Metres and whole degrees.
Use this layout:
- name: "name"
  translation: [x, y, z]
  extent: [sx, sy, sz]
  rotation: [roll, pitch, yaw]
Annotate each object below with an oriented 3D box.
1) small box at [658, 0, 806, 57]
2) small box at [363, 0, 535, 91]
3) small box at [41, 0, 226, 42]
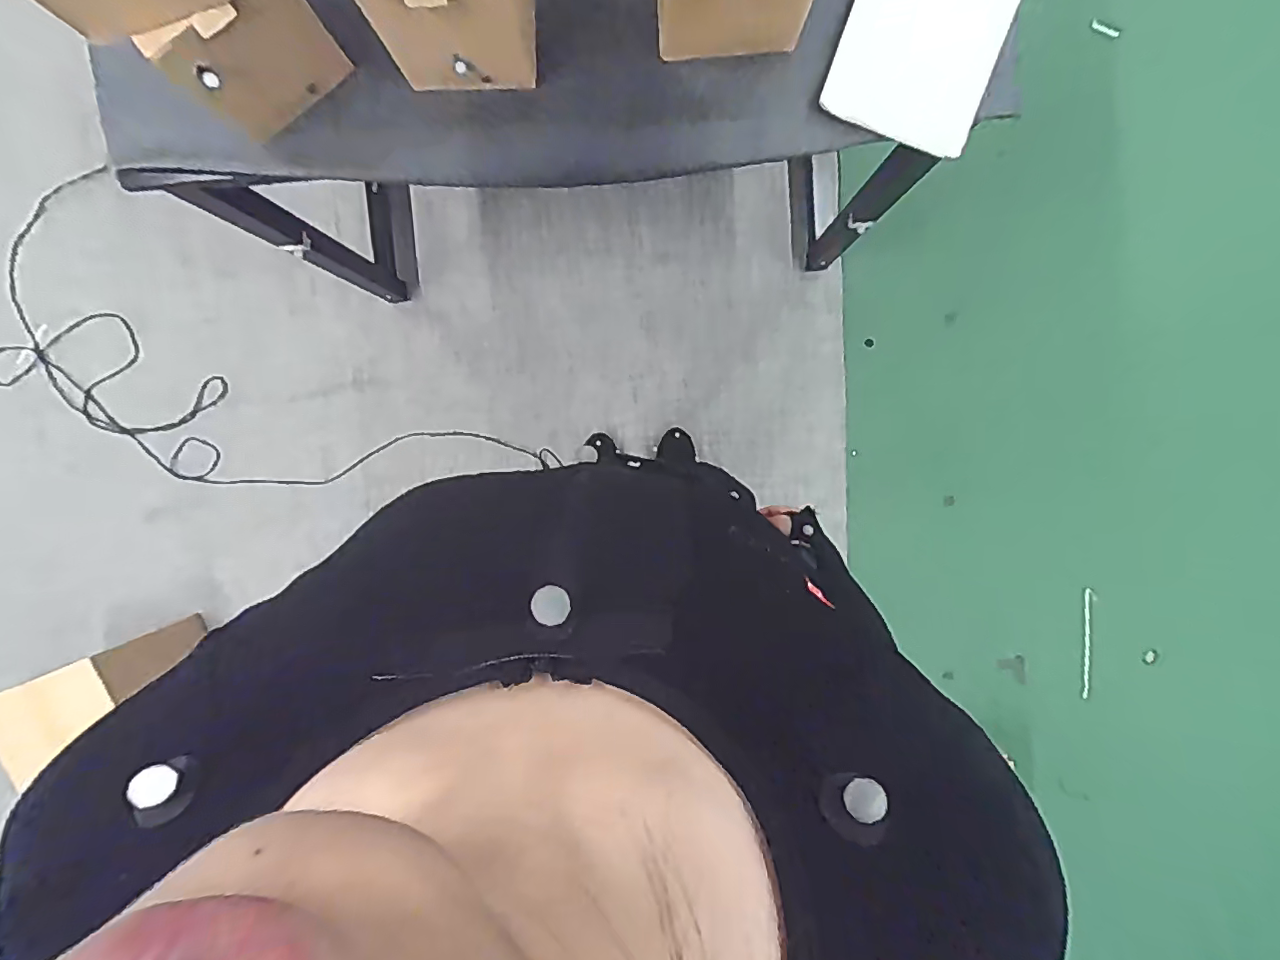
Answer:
- name: "small box"
  translation: [0.107, -0.632, 0.620]
  extent: [0.179, 0.176, 0.168]
  rotation: [-4, 94, 3]
- name: "small box"
  translation: [-0.222, -0.598, 0.629]
  extent: [0.168, 0.176, 0.179]
  rotation: [0, 94, 2]
- name: "small box"
  translation: [-0.508, -0.543, 0.475]
  extent: [0.179, 0.176, 0.168]
  rotation: [-18, 94, 3]
